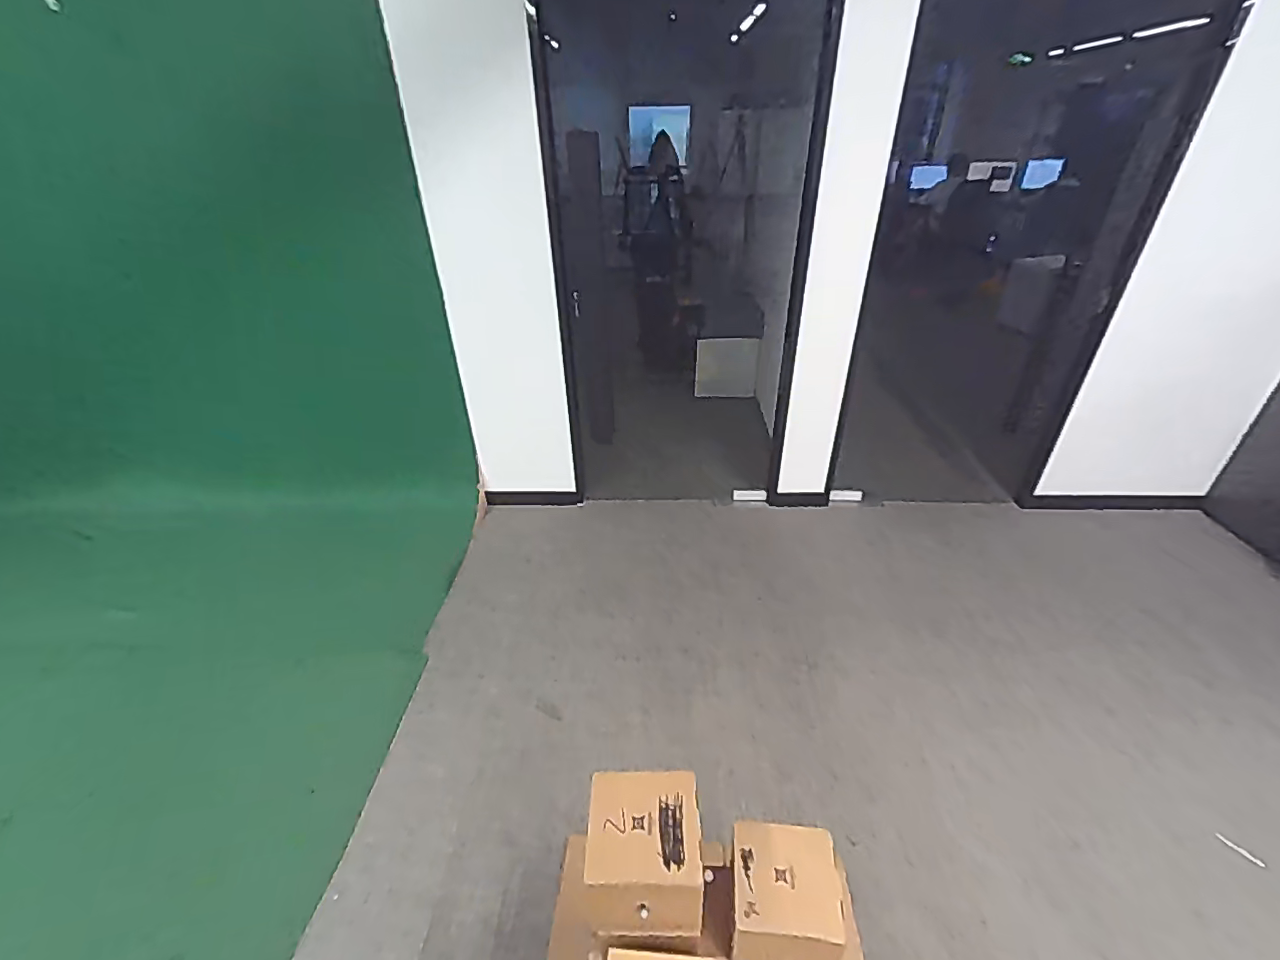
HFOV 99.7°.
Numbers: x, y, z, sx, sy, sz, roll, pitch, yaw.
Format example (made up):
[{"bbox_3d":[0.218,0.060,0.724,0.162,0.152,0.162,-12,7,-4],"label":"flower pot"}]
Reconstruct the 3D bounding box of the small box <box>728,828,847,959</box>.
[{"bbox_3d":[0.248,0.749,0.951,0.179,0.176,0.168,2,33,8],"label":"small box"}]
